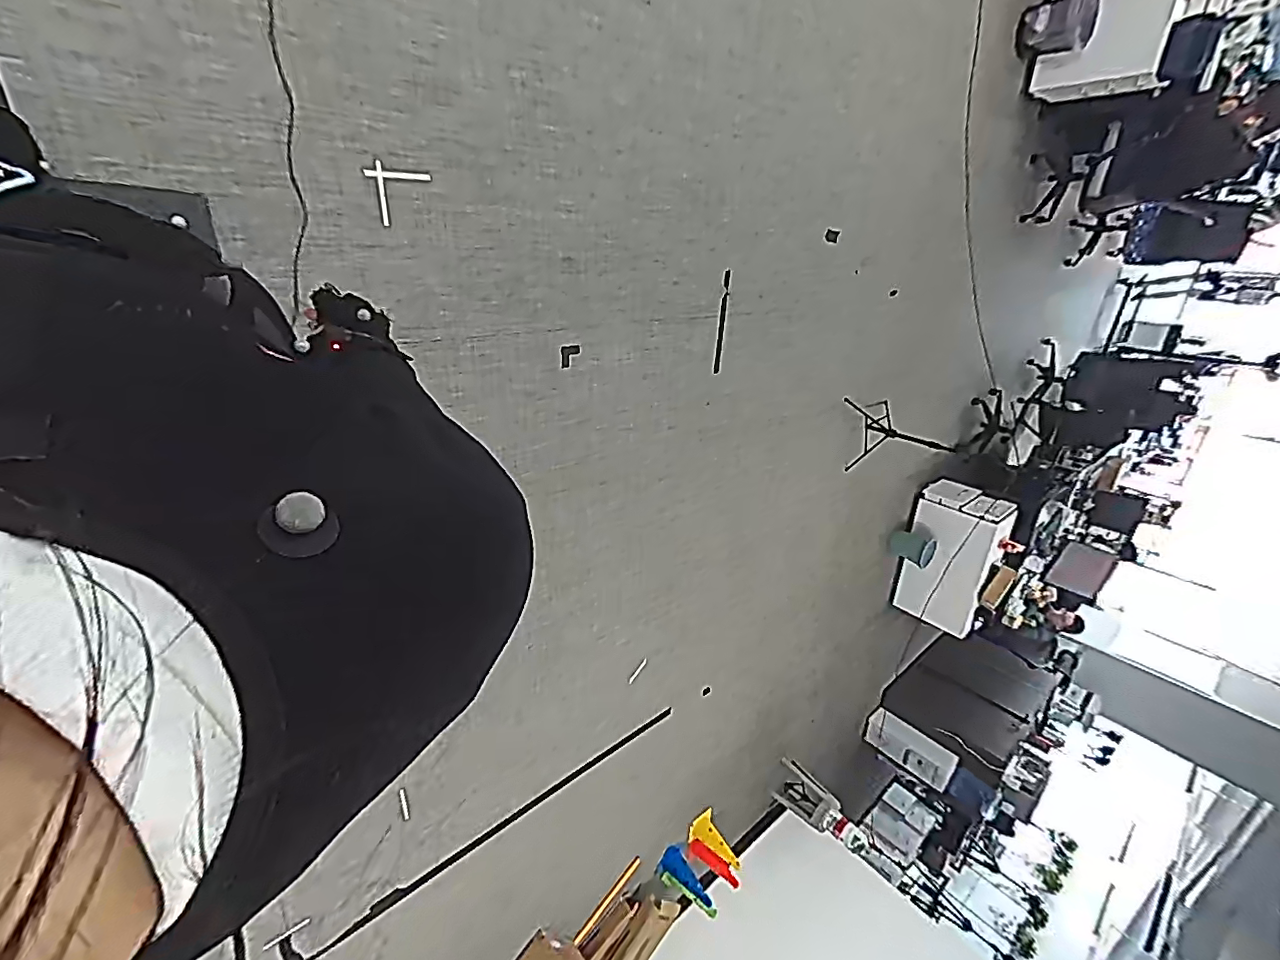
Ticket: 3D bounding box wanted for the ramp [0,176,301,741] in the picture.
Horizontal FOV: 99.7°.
[{"bbox_3d":[-1.036,-0.035,1.046,0.509,0.206,0.991,-16,119,-37],"label":"ramp"}]
